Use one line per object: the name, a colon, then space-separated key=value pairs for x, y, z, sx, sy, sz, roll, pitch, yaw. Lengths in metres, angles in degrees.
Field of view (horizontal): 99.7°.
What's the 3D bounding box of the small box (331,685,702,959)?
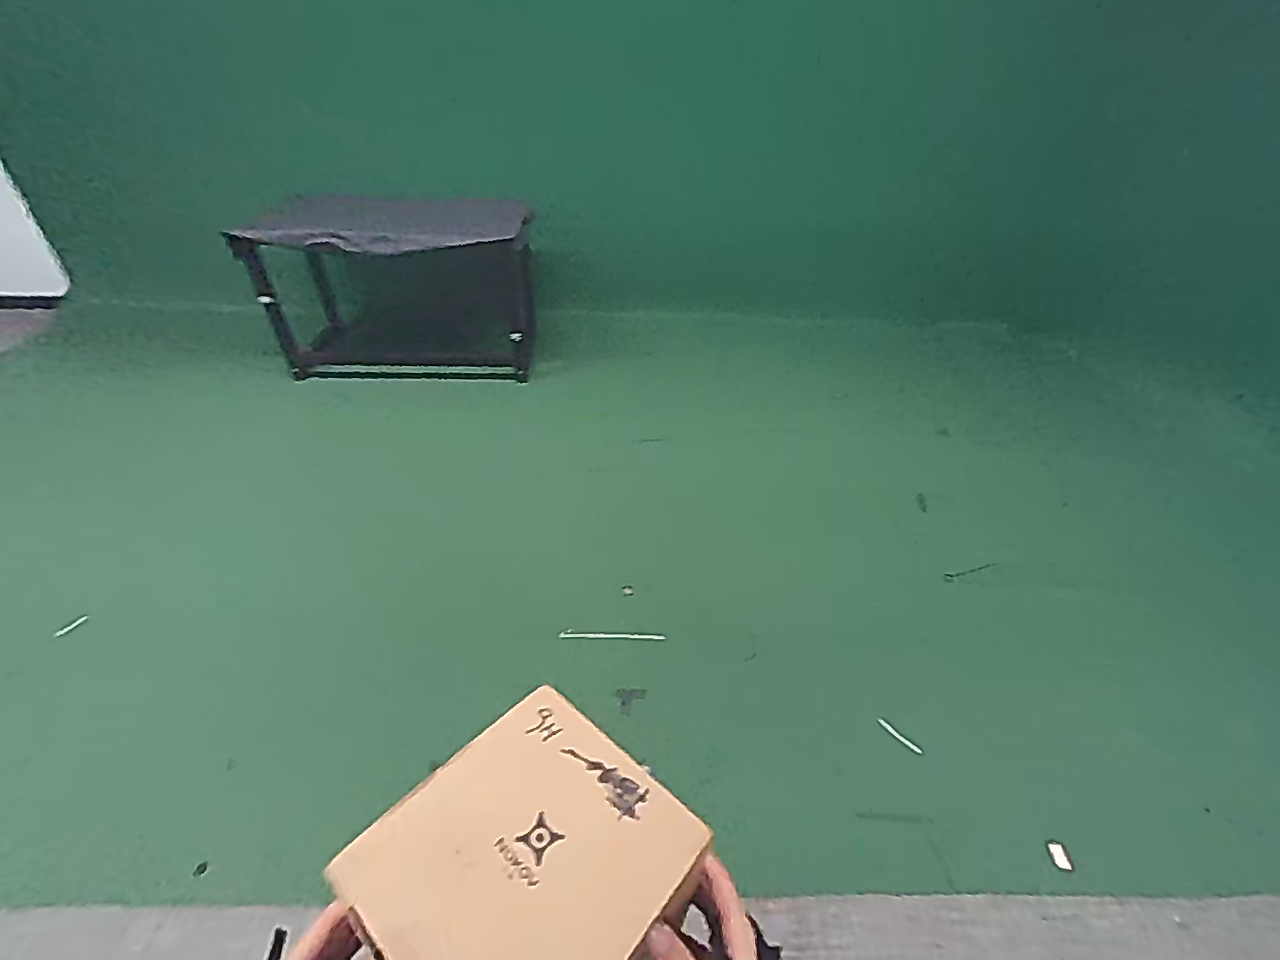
small box: x=-0.077 y=0.298 z=0.387 sx=0.168 sy=0.176 sz=0.179 roll=28 pitch=41 yaw=30
